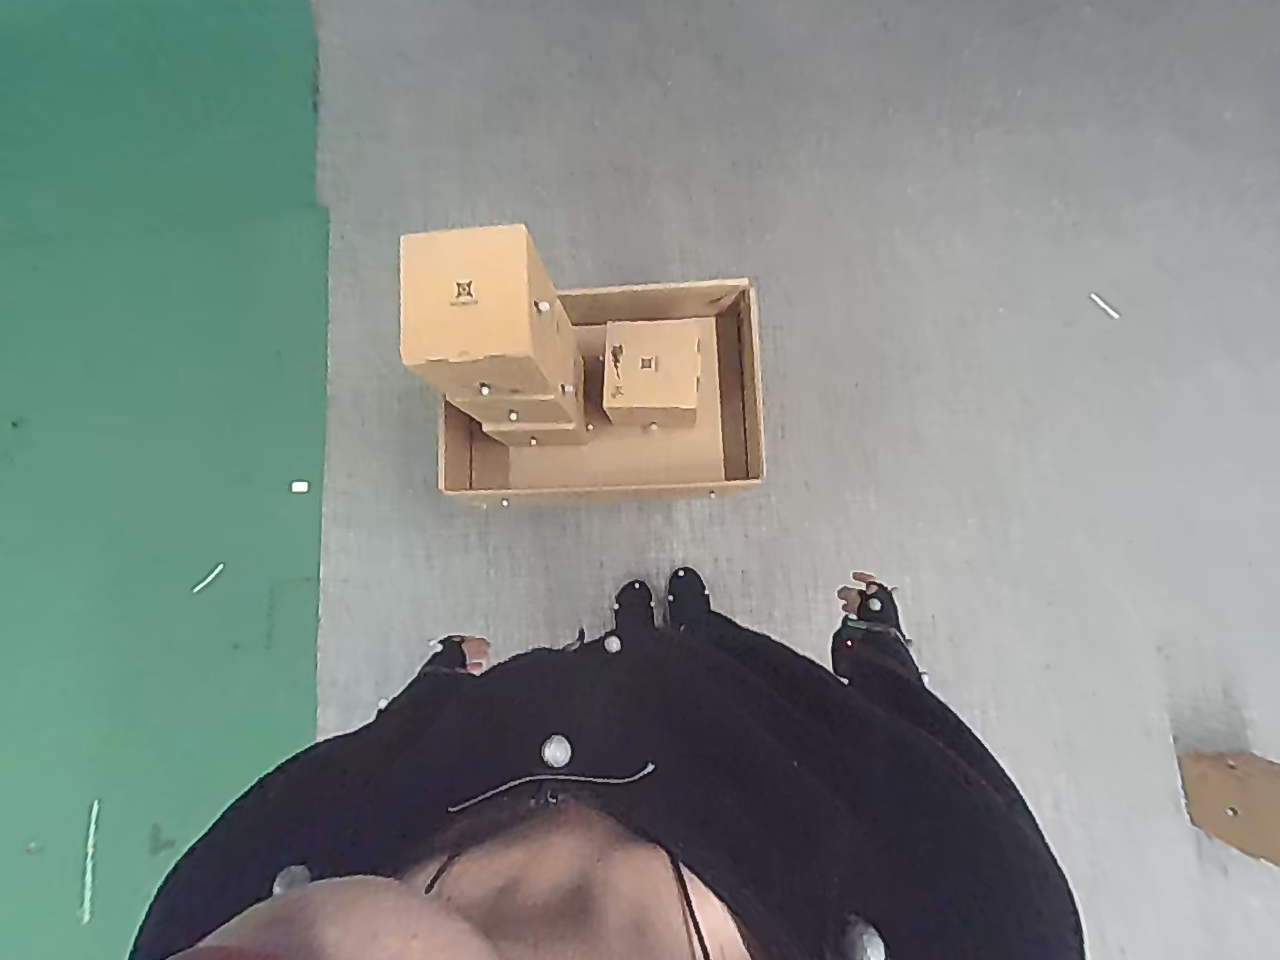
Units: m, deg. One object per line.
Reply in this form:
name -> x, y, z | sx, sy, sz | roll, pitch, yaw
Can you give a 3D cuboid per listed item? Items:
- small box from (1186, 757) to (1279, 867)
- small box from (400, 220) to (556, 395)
small box -> 1.450, 0.767, 1.269 | 0.168, 0.176, 0.179 | -5, 82, 4
small box -> -0.216, -0.231, 0.756 | 0.168, 0.176, 0.179 | -4, 83, 3
